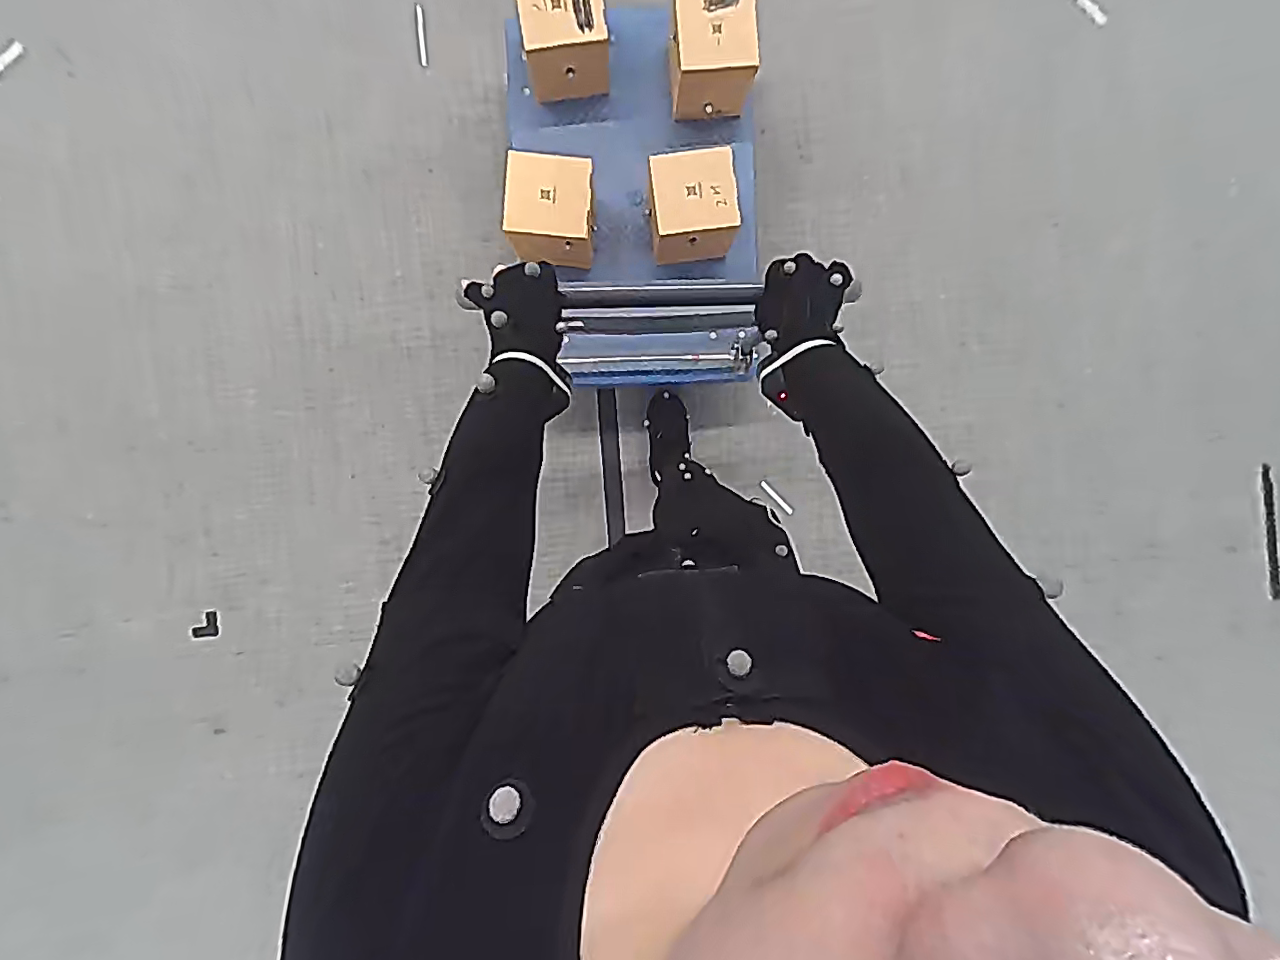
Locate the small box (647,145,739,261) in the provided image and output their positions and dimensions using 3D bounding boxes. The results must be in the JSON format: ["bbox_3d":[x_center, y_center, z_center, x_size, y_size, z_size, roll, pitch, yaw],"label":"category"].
[{"bbox_3d":[0.109,-0.600,1.193,0.179,0.176,0.168,-8,92,-1],"label":"small box"}]

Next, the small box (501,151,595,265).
[{"bbox_3d":[-0.194,-0.587,1.186,0.179,0.176,0.168,4,91,-3],"label":"small box"}]

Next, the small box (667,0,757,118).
[{"bbox_3d":[0.151,-0.937,1.184,0.168,0.176,0.179,-5,93,-1],"label":"small box"}]
